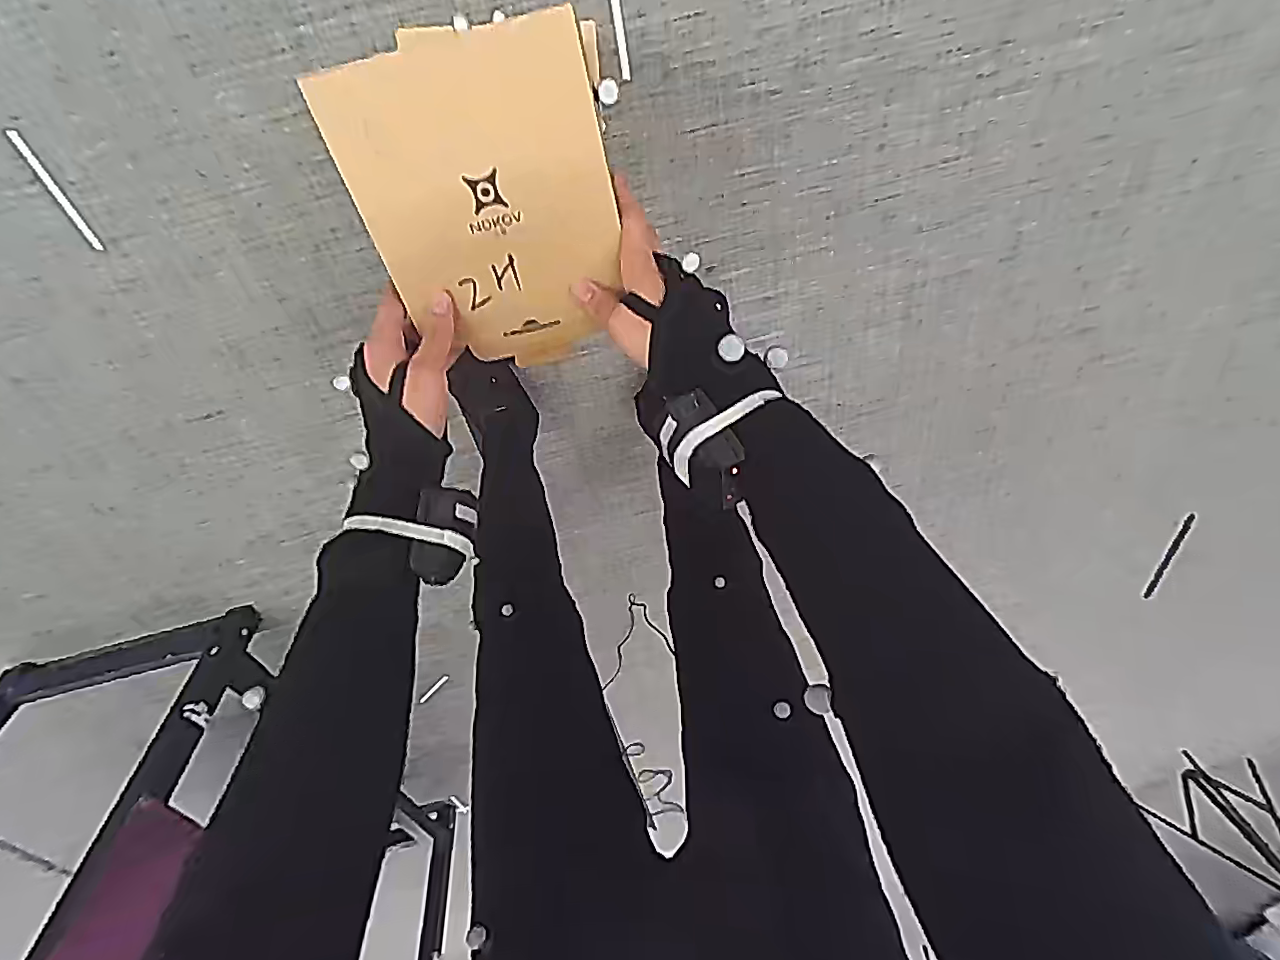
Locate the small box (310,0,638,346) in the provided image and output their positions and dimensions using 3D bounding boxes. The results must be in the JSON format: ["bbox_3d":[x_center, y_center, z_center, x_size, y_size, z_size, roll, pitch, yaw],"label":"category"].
[{"bbox_3d":[-0.102,-0.232,0.418,0.168,0.176,0.179,-12,128,4],"label":"small box"}]
